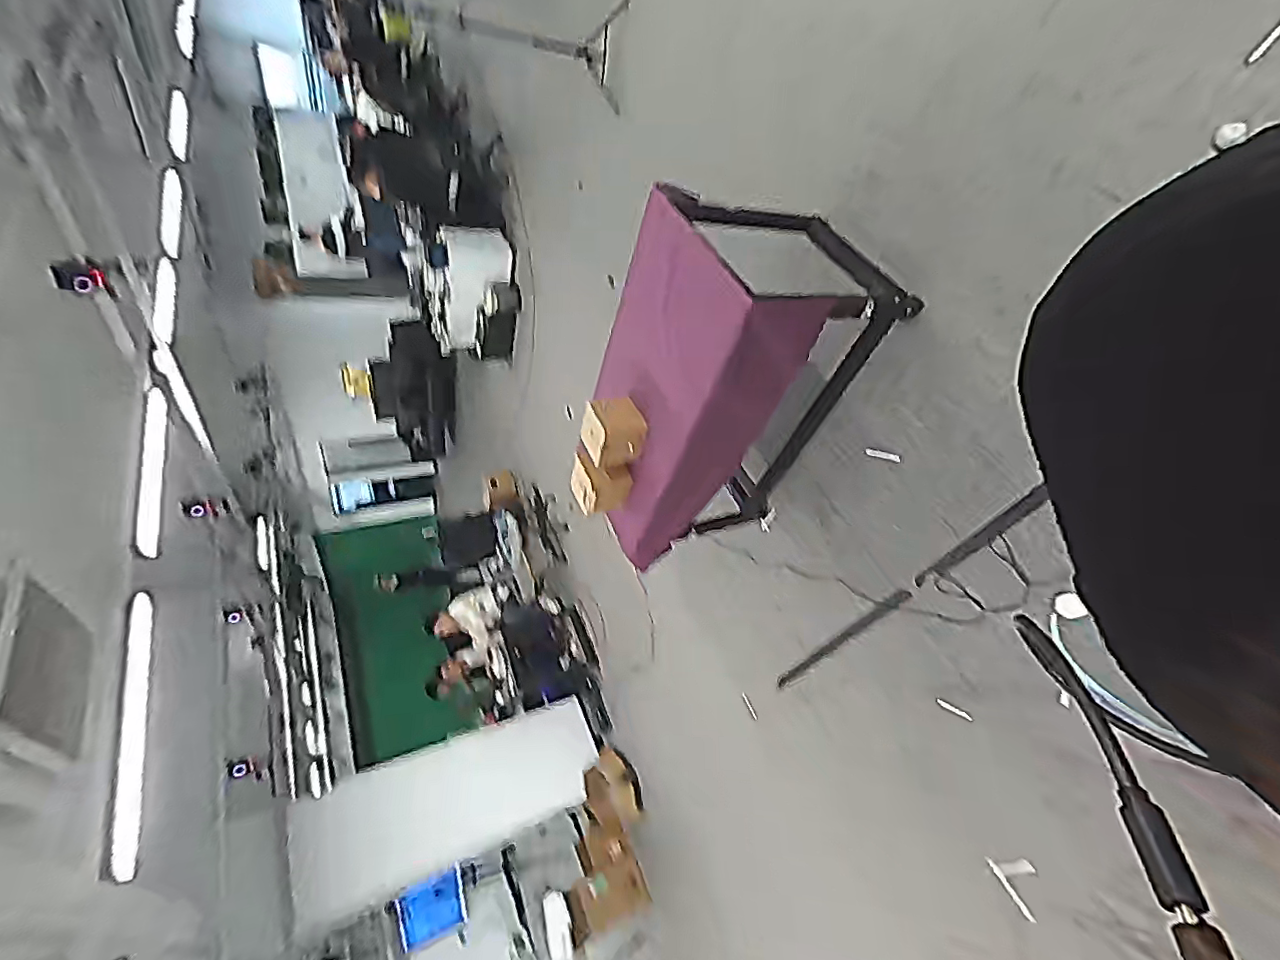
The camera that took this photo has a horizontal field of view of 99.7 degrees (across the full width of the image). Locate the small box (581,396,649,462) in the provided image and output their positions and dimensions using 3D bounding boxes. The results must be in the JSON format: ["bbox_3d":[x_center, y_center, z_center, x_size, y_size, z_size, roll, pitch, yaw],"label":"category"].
[{"bbox_3d":[-0.092,-0.190,1.958,0.179,0.176,0.168,59,146,34],"label":"small box"}]

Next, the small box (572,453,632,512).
[{"bbox_3d":[-0.149,-0.003,2.125,0.179,0.176,0.168,57,144,38],"label":"small box"}]
